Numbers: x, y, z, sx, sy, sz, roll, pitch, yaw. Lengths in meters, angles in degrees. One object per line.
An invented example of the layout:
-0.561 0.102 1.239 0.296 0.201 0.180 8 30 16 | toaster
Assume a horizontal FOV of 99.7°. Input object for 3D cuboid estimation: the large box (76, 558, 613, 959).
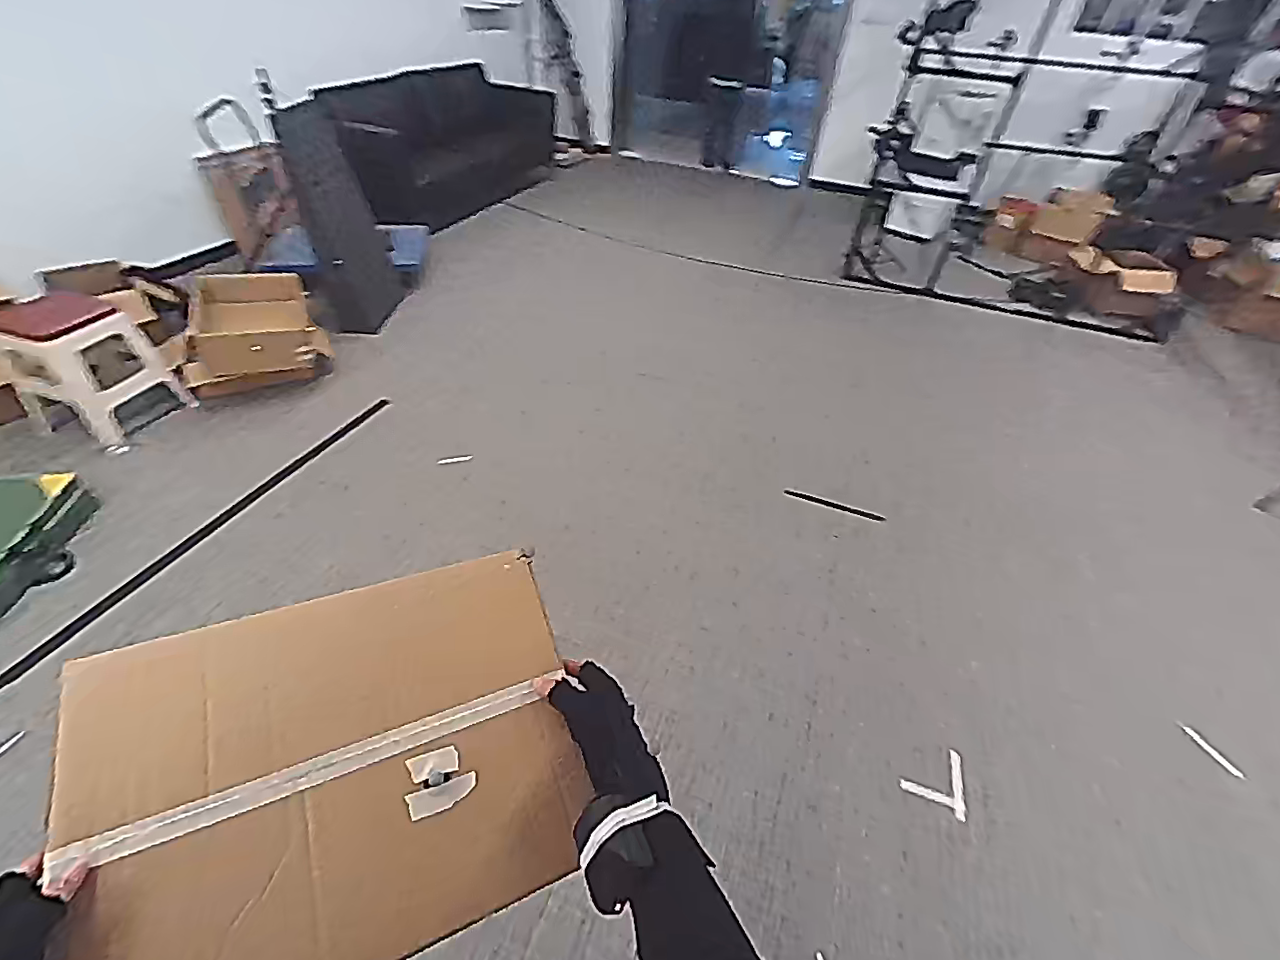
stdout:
-0.292 0.334 0.617 0.408 0.320 0.320 -12 63 -23 | large box
